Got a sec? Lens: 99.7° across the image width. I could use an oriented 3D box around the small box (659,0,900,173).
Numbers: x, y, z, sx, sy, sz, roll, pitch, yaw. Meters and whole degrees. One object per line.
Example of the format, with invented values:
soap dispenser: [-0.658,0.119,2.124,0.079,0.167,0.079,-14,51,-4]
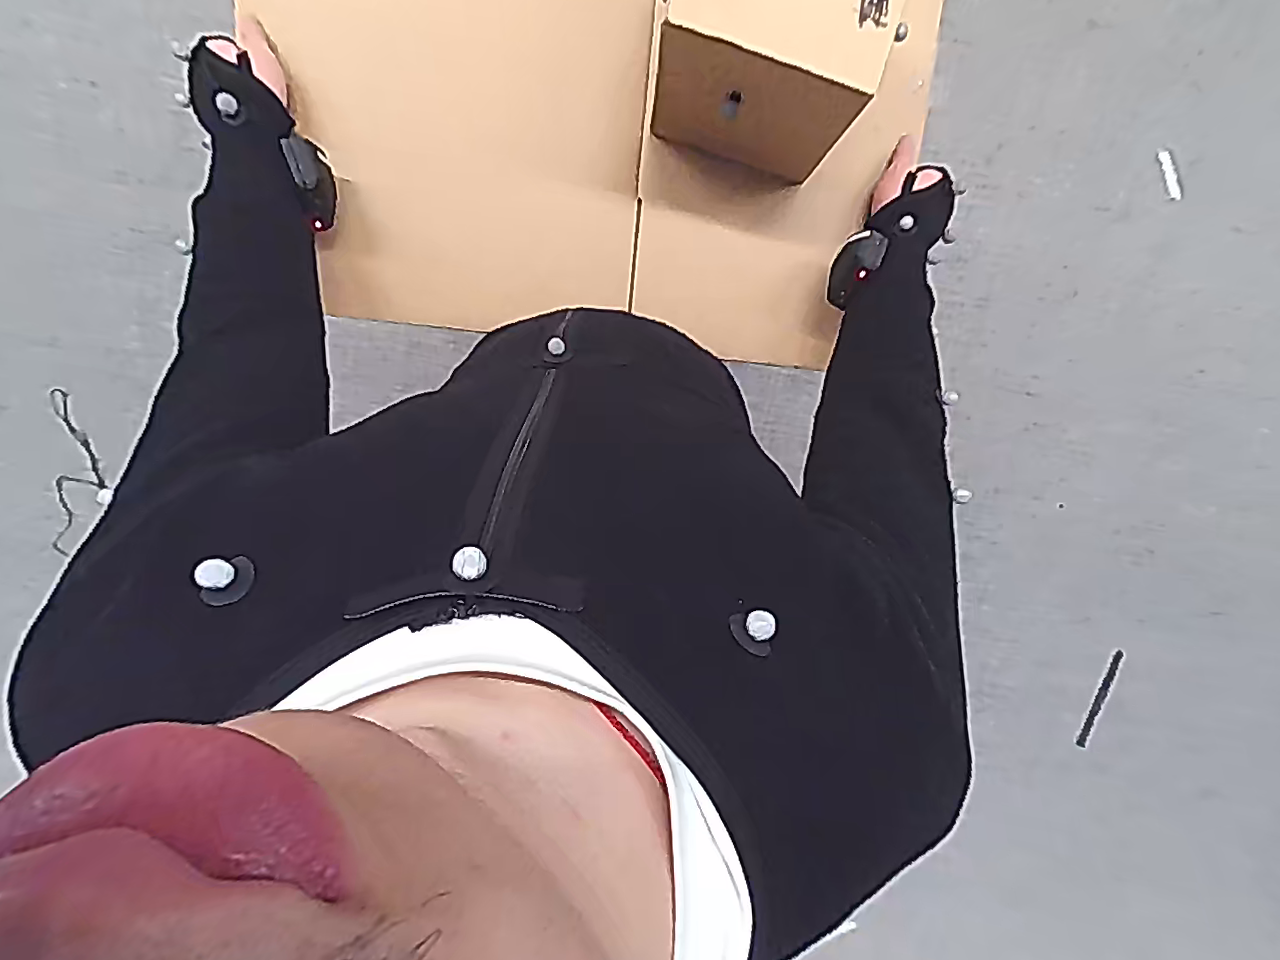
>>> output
small box: [0.121,-0.415,0.493,0.179,0.176,0.168,16,97,-3]
